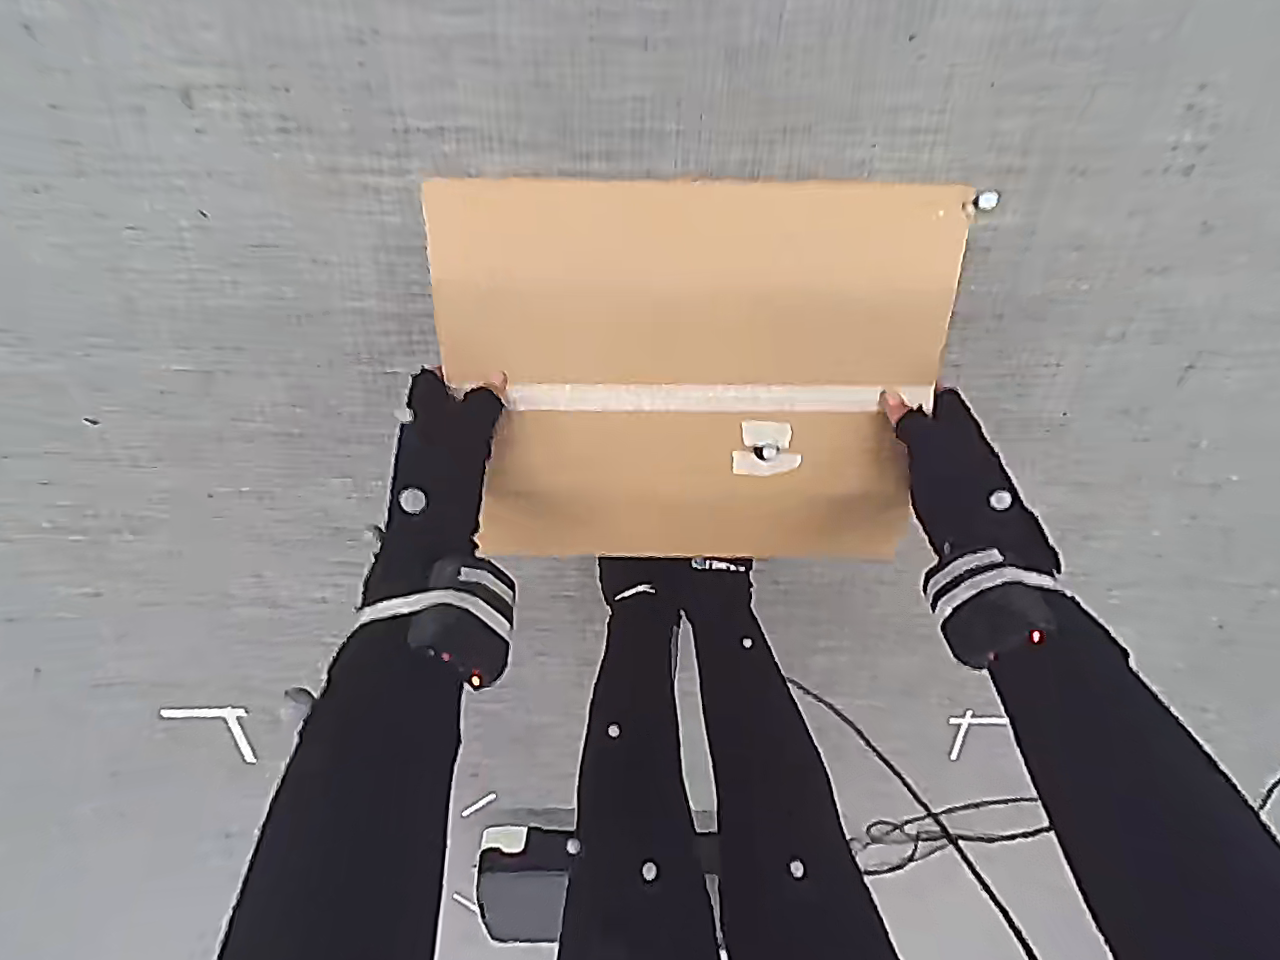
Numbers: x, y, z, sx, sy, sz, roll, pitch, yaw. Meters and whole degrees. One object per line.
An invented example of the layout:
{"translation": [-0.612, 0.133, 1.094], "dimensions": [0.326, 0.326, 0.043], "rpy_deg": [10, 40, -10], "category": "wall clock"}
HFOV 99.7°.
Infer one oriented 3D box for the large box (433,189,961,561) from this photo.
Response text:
{"translation": [0.042, -0.125, 0.594], "dimensions": [0.408, 0.320, 0.320], "rpy_deg": [0, 113, -1], "category": "large box"}
